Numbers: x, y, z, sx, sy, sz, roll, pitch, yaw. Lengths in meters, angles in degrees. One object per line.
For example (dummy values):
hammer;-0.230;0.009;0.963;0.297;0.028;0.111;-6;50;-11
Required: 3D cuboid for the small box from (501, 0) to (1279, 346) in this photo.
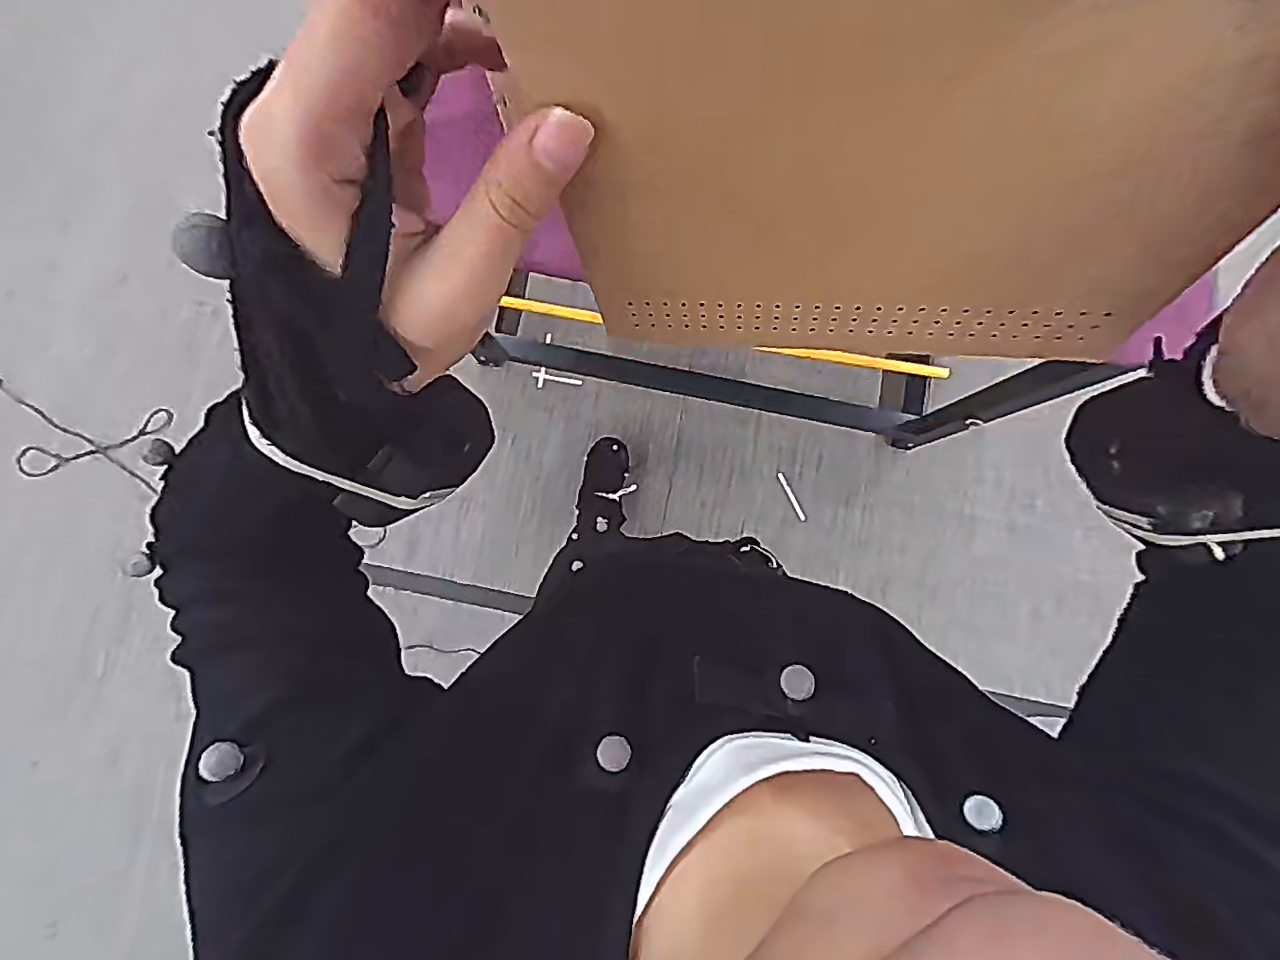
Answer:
small box;0.074;-0.151;0.145;0.179;0.176;0.168;5;71;13
